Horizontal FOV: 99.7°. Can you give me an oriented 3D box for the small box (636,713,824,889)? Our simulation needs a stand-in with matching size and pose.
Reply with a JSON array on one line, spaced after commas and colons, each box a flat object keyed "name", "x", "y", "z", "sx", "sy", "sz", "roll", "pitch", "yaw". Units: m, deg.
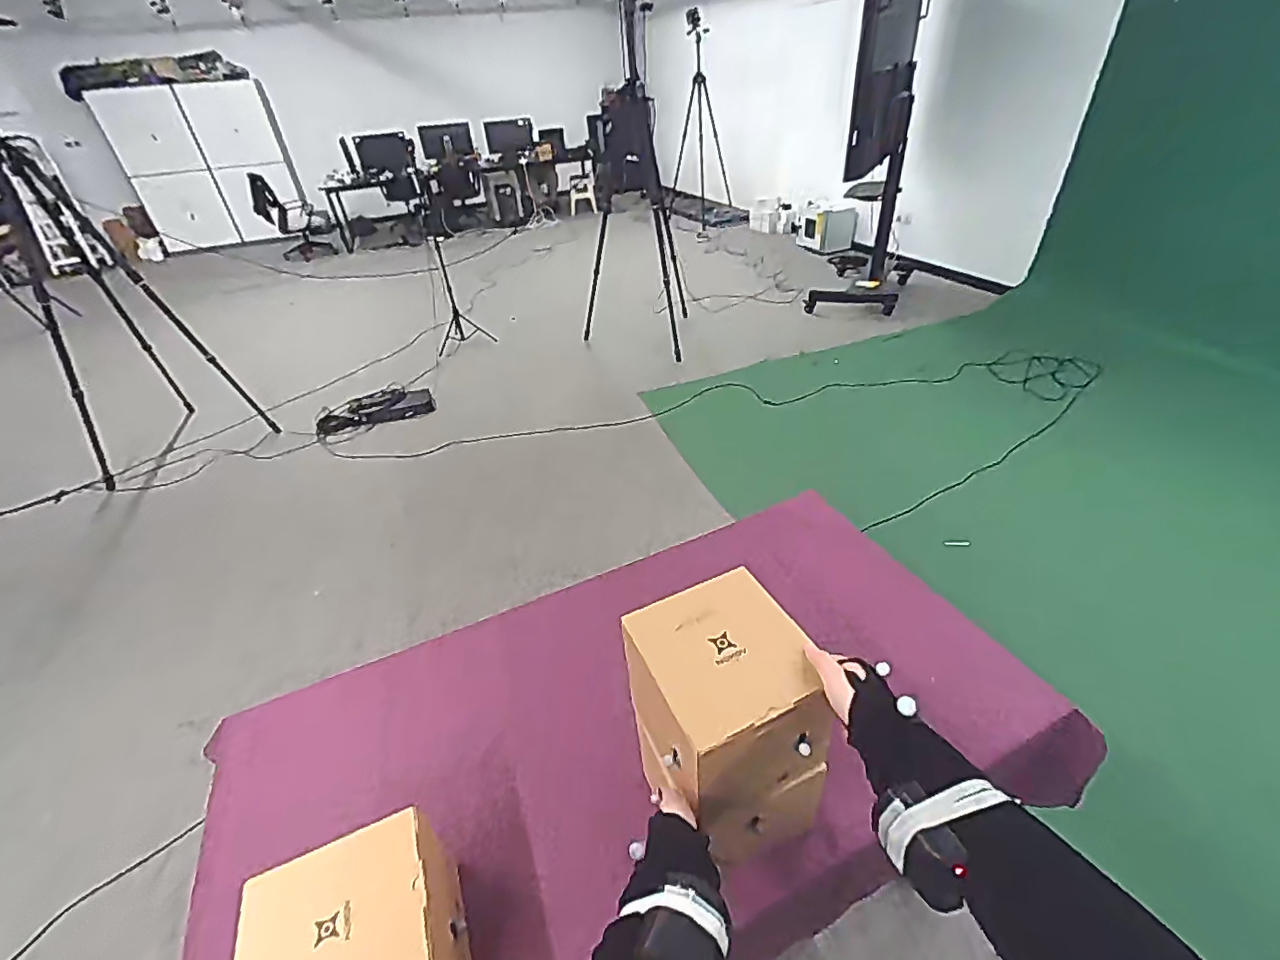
[{"name": "small box", "x": 0.110, "y": 0.381, "z": 0.699, "sx": 0.179, "sy": 0.176, "sz": 0.168, "roll": -17, "pitch": 38, "yaw": -16}]

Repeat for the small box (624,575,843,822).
[{"name": "small box", "x": 0.096, "y": 0.246, "z": 0.608, "sx": 0.168, "sy": 0.176, "sz": 0.179, "roll": -18, "pitch": 37, "yaw": -18}]

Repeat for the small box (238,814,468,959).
[{"name": "small box", "x": -0.293, "y": 0.509, "z": 0.574, "sx": 0.179, "sy": 0.176, "sz": 0.168, "roll": -17, "pitch": 38, "yaw": -18}]
